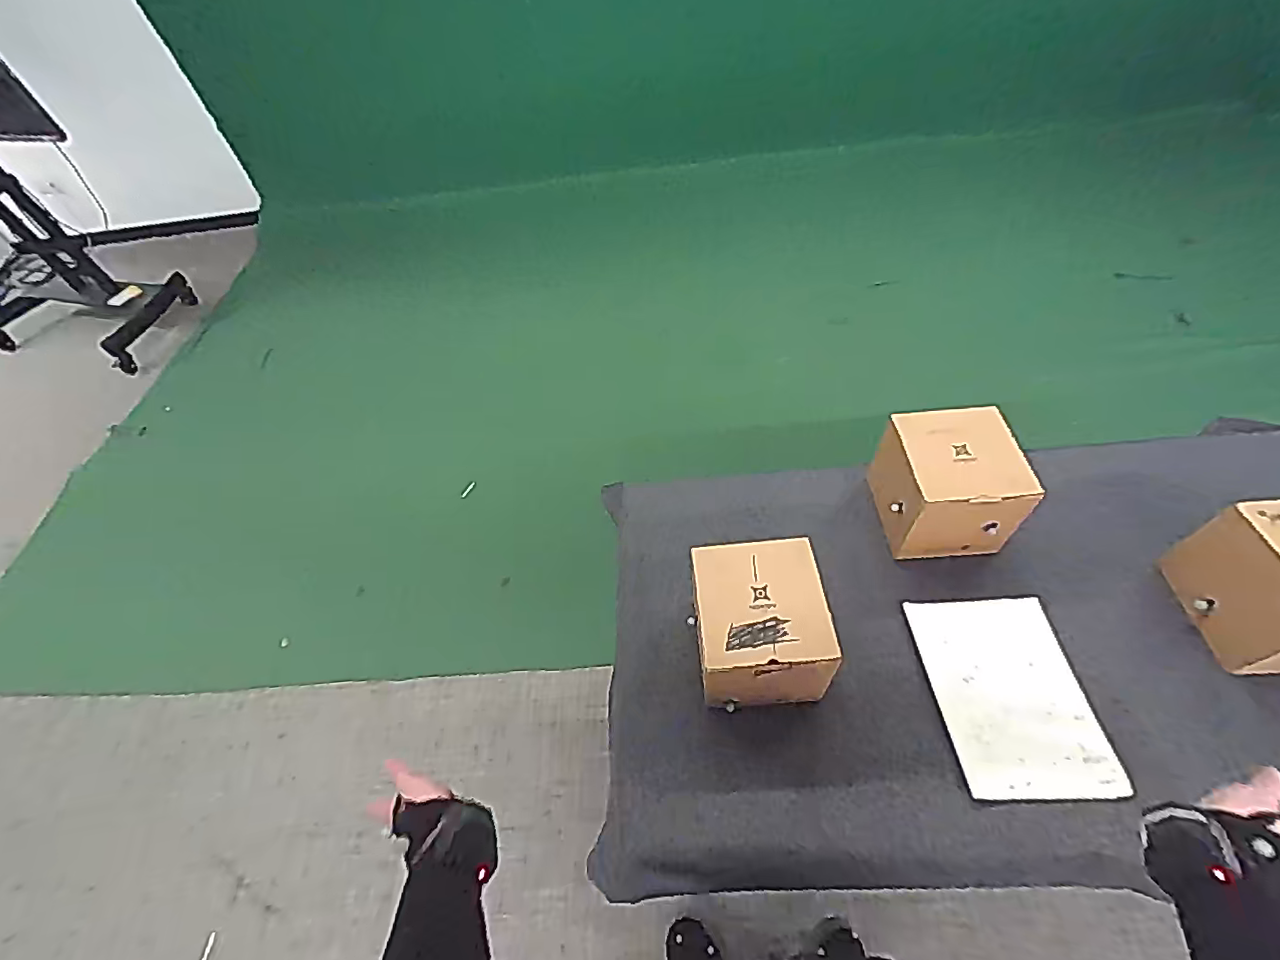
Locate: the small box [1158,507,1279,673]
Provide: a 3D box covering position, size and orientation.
[{"bbox_3d":[0.870,0.150,0.719,0.168,0.176,0.179,-4,53,5],"label":"small box"}]

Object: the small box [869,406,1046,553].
[{"bbox_3d":[0.488,0.007,0.863,0.168,0.176,0.179,-4,52,3],"label":"small box"}]

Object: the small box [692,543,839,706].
[{"bbox_3d":[0.166,0.212,0.768,0.168,0.176,0.179,-5,52,3],"label":"small box"}]
